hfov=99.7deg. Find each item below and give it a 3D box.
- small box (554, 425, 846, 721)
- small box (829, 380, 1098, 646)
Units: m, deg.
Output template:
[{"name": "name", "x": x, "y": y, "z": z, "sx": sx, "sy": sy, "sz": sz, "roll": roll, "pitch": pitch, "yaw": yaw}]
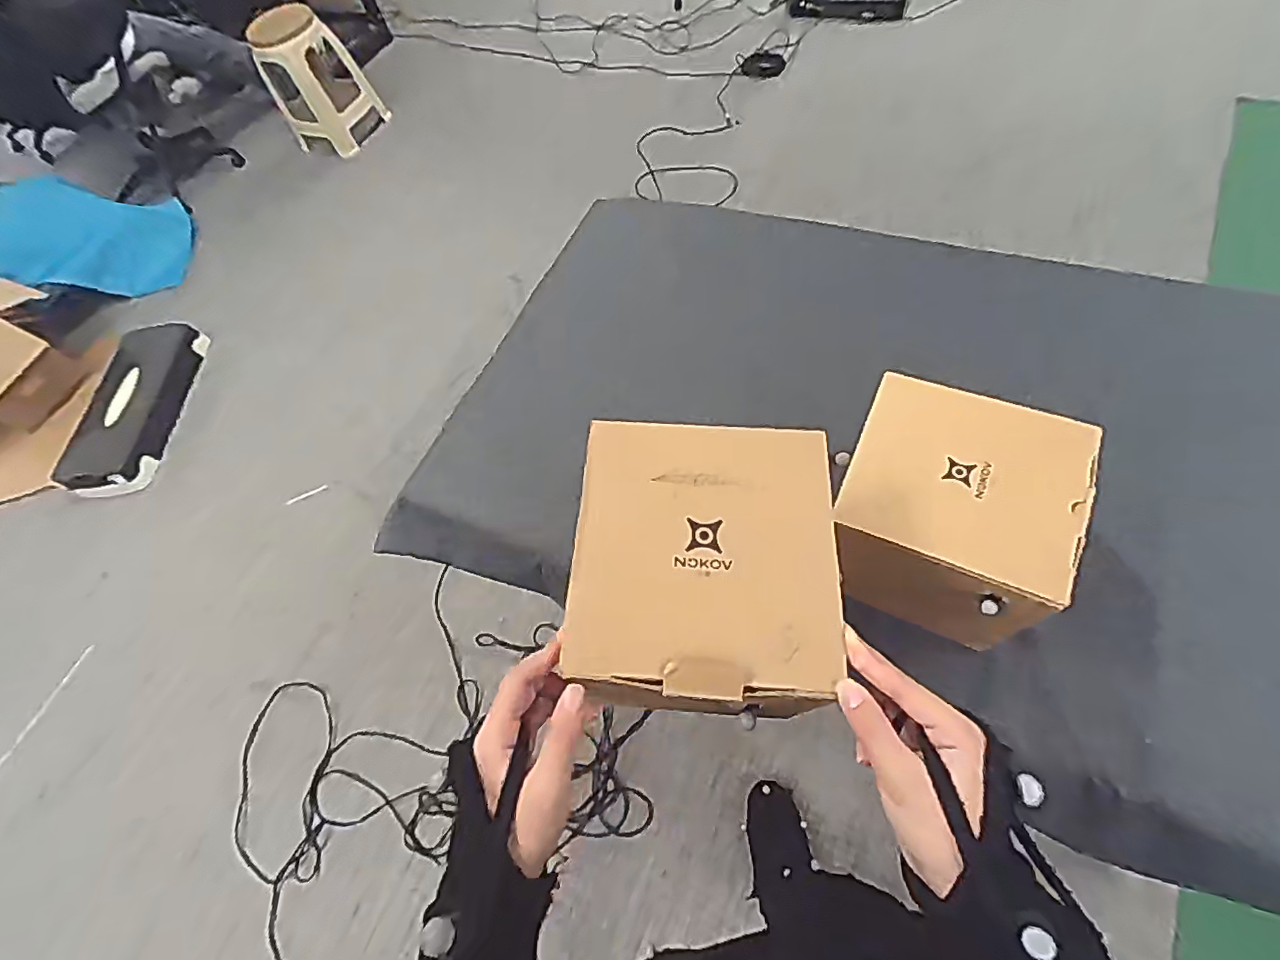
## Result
[{"name": "small box", "x": 0.040, "y": 0.079, "z": 0.407, "sx": 0.168, "sy": 0.176, "sz": 0.179, "roll": 3, "pitch": 62, "yaw": 2}, {"name": "small box", "x": 0.277, "y": 0.038, "z": 0.513, "sx": 0.179, "sy": 0.176, "sz": 0.168, "roll": 21, "pitch": 67, "yaw": 19}]
